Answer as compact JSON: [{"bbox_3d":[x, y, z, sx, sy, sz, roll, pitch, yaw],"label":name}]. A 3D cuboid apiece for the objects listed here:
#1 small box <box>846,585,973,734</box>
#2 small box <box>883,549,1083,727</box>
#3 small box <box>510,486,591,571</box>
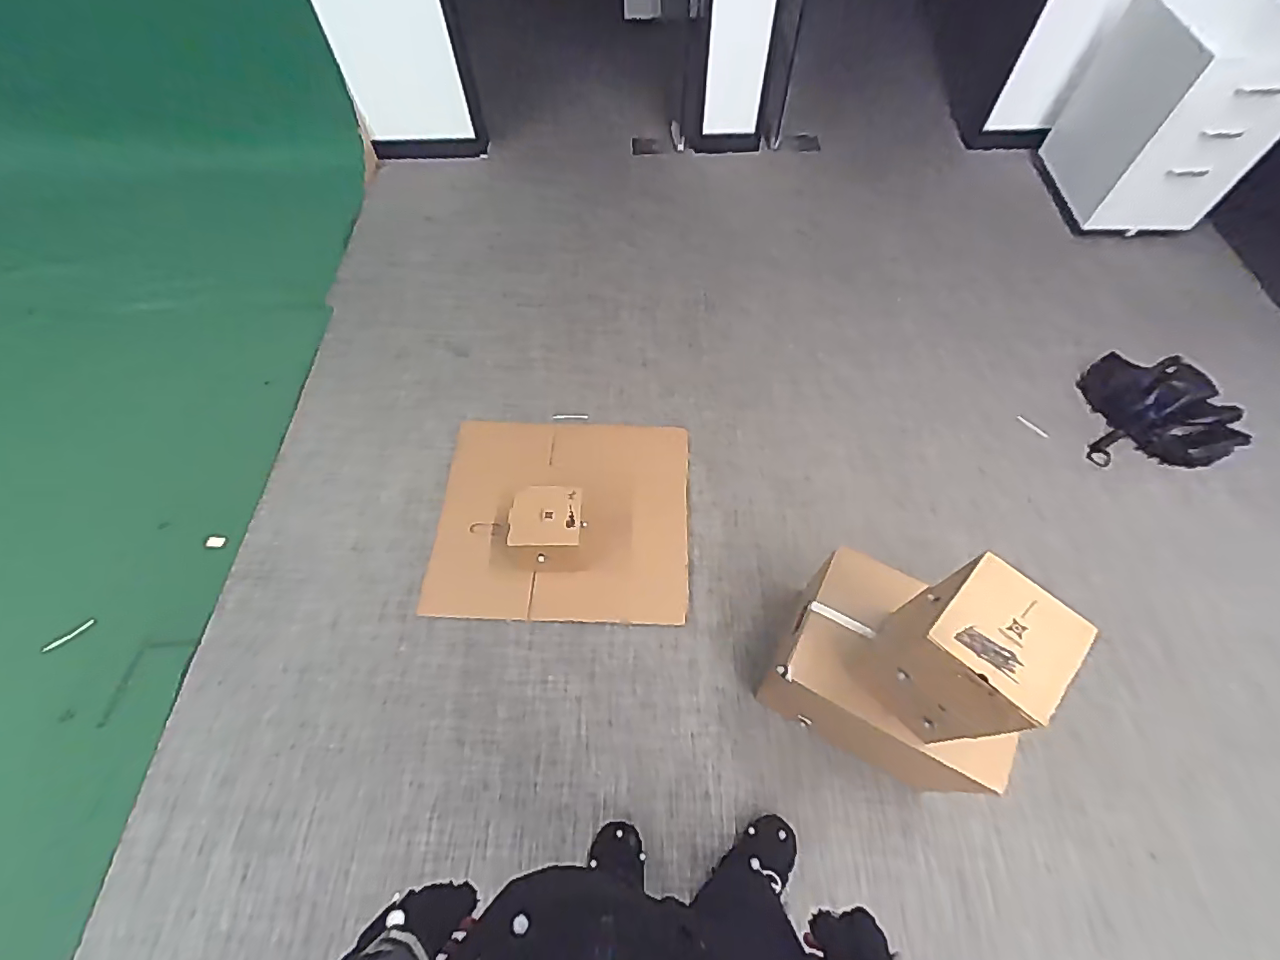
[{"bbox_3d":[0.499,0.322,0.949,0.179,0.176,0.168,40,68,22],"label":"small box"},{"bbox_3d":[0.492,0.242,0.805,0.168,0.176,0.179,38,68,19],"label":"small box"},{"bbox_3d":[-0.227,0.130,1.410,0.179,0.176,0.168,-3,58,1],"label":"small box"}]
